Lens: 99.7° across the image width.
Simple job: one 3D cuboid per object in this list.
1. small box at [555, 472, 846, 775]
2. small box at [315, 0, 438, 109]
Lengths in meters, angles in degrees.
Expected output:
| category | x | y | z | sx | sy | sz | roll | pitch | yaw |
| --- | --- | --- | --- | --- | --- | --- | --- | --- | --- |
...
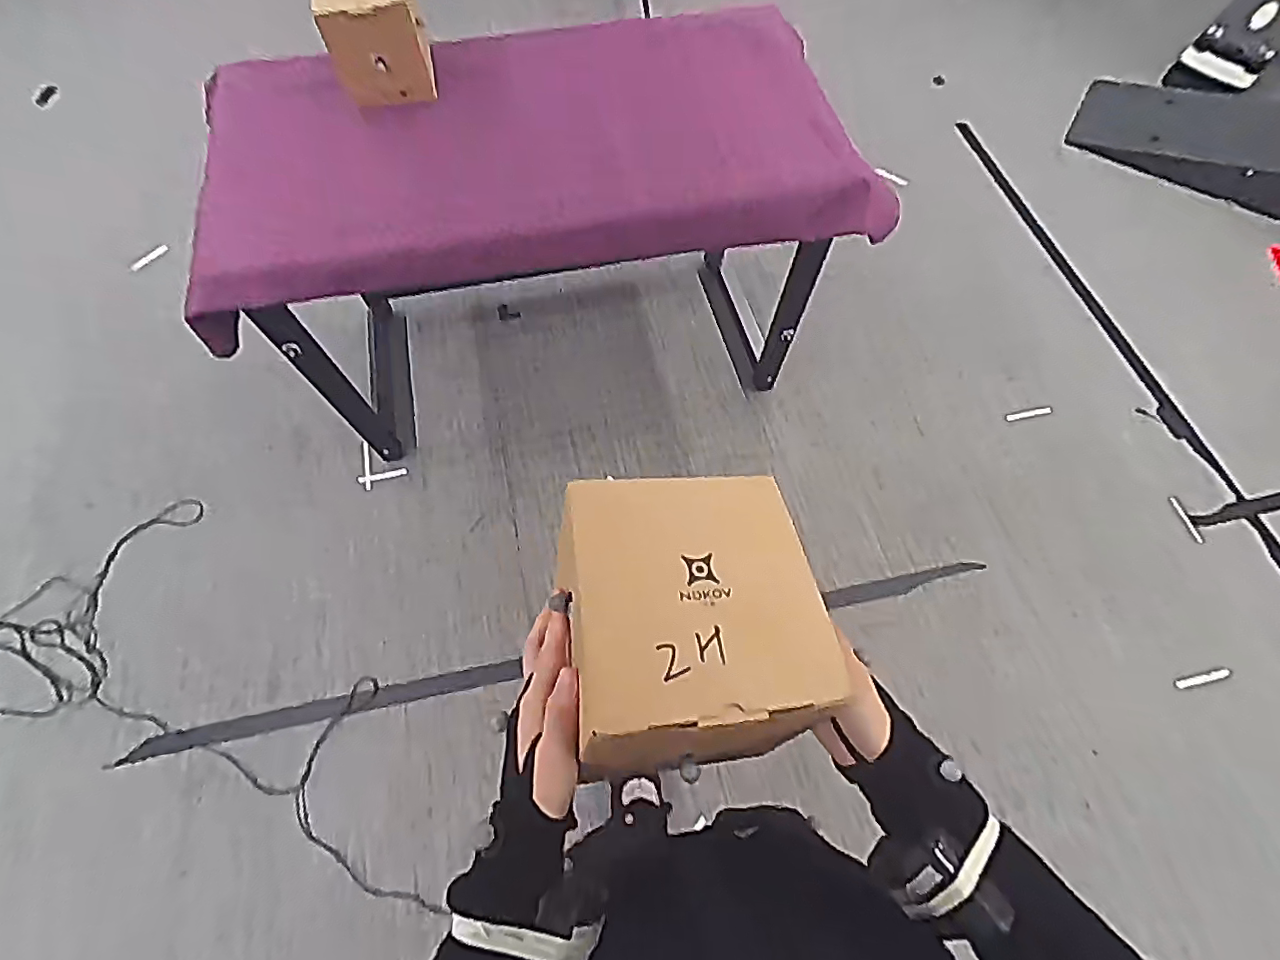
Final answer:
| category | x | y | z | sx | sy | sz | roll | pitch | yaw |
| --- | --- | --- | --- | --- | --- | --- | --- | --- | --- |
| small box | 0.023 | 0.112 | 0.426 | 0.168 | 0.176 | 0.179 | 0 | 53 | -13 |
| small box | -0.504 | -0.856 | 1.050 | 0.168 | 0.176 | 0.179 | -12 | 69 | -7 |
